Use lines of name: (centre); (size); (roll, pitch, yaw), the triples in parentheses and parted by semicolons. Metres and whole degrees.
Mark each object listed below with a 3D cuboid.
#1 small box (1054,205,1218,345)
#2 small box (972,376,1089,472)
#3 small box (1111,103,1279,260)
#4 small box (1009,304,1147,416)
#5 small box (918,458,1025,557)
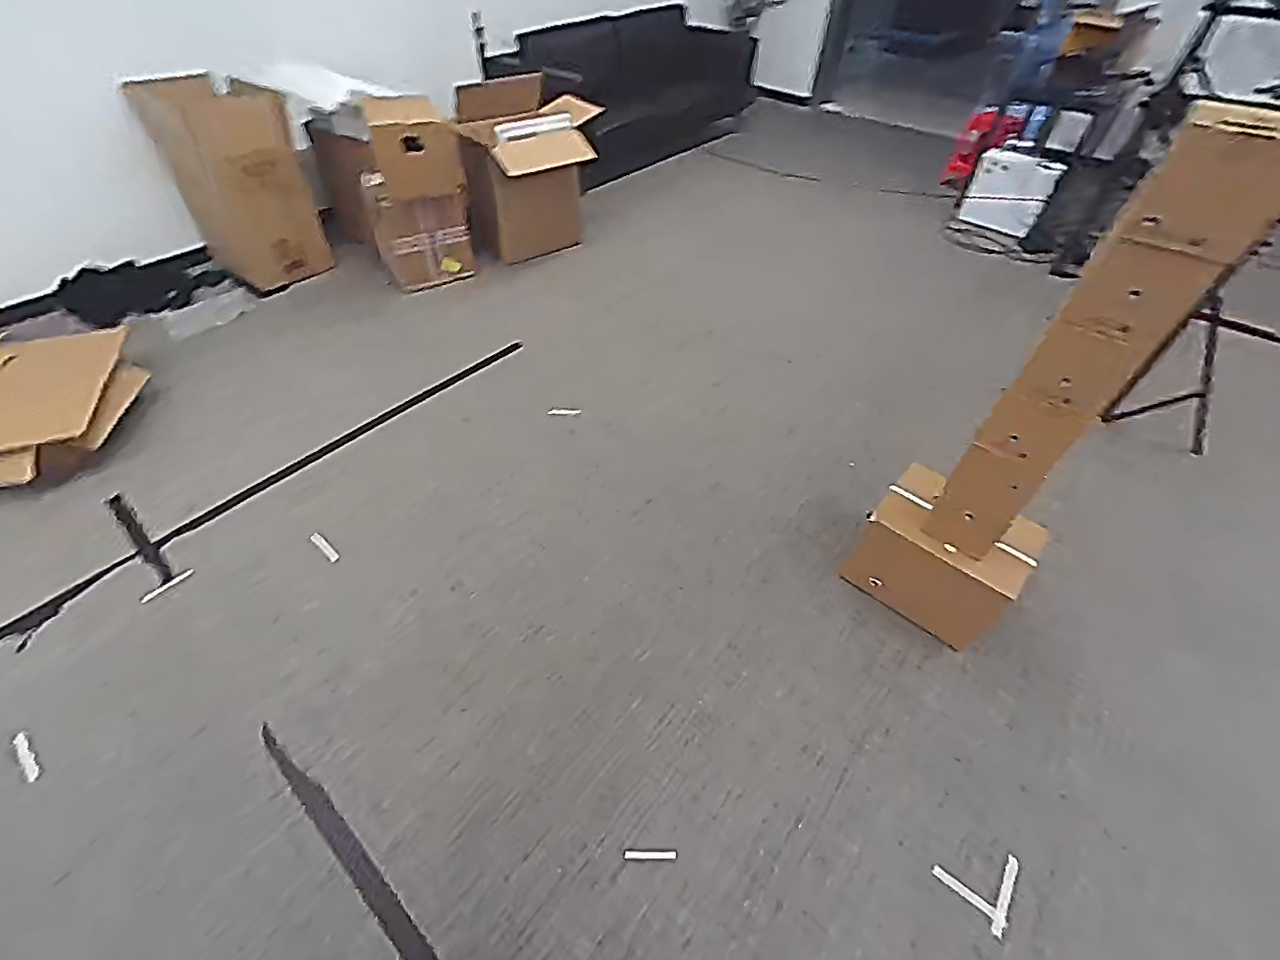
small box: (0.915, -0.378, 1.004); (0.168, 0.176, 0.179); (31, 55, 24)
small box: (0.903, -0.152, 1.242); (0.168, 0.176, 0.179); (32, 55, 25)
small box: (0.914, -0.482, 0.875); (0.168, 0.176, 0.179); (30, 54, 24)
small box: (0.908, -0.265, 1.123); (0.168, 0.176, 0.179); (31, 55, 24)
small box: (0.895, 0.079, 1.473); (0.179, 0.176, 0.168); (32, 55, 24)
